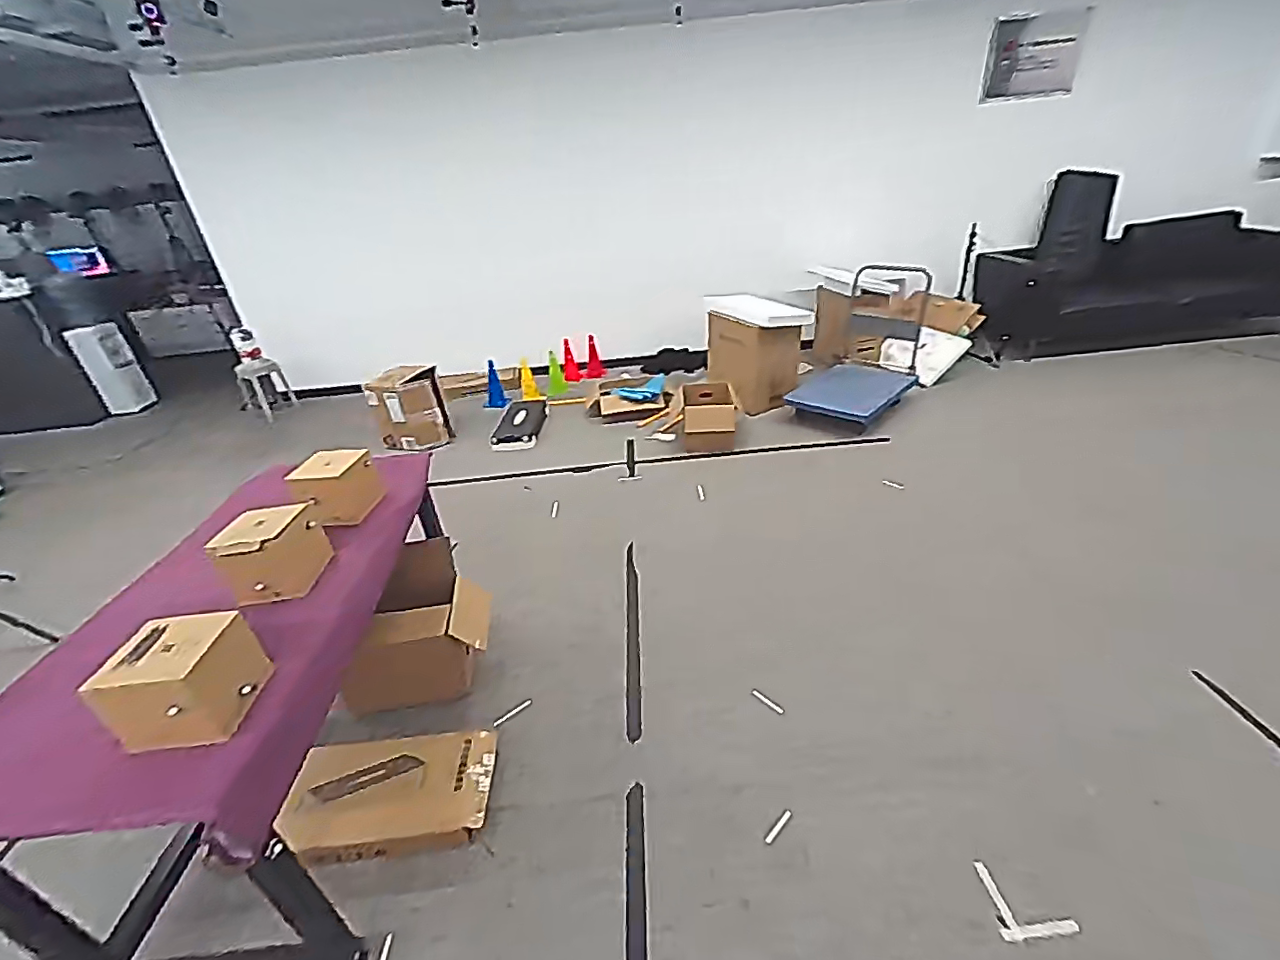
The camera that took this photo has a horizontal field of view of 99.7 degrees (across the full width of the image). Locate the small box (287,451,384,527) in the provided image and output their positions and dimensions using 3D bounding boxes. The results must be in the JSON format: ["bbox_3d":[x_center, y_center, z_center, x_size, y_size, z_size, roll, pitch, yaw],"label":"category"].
[{"bbox_3d":[-0.900,0.031,1.620,0.168,0.176,0.179,-3,29,5],"label":"small box"}]

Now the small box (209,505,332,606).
[{"bbox_3d":[-0.901,0.187,1.342,0.168,0.176,0.179,-9,29,0],"label":"small box"}]
